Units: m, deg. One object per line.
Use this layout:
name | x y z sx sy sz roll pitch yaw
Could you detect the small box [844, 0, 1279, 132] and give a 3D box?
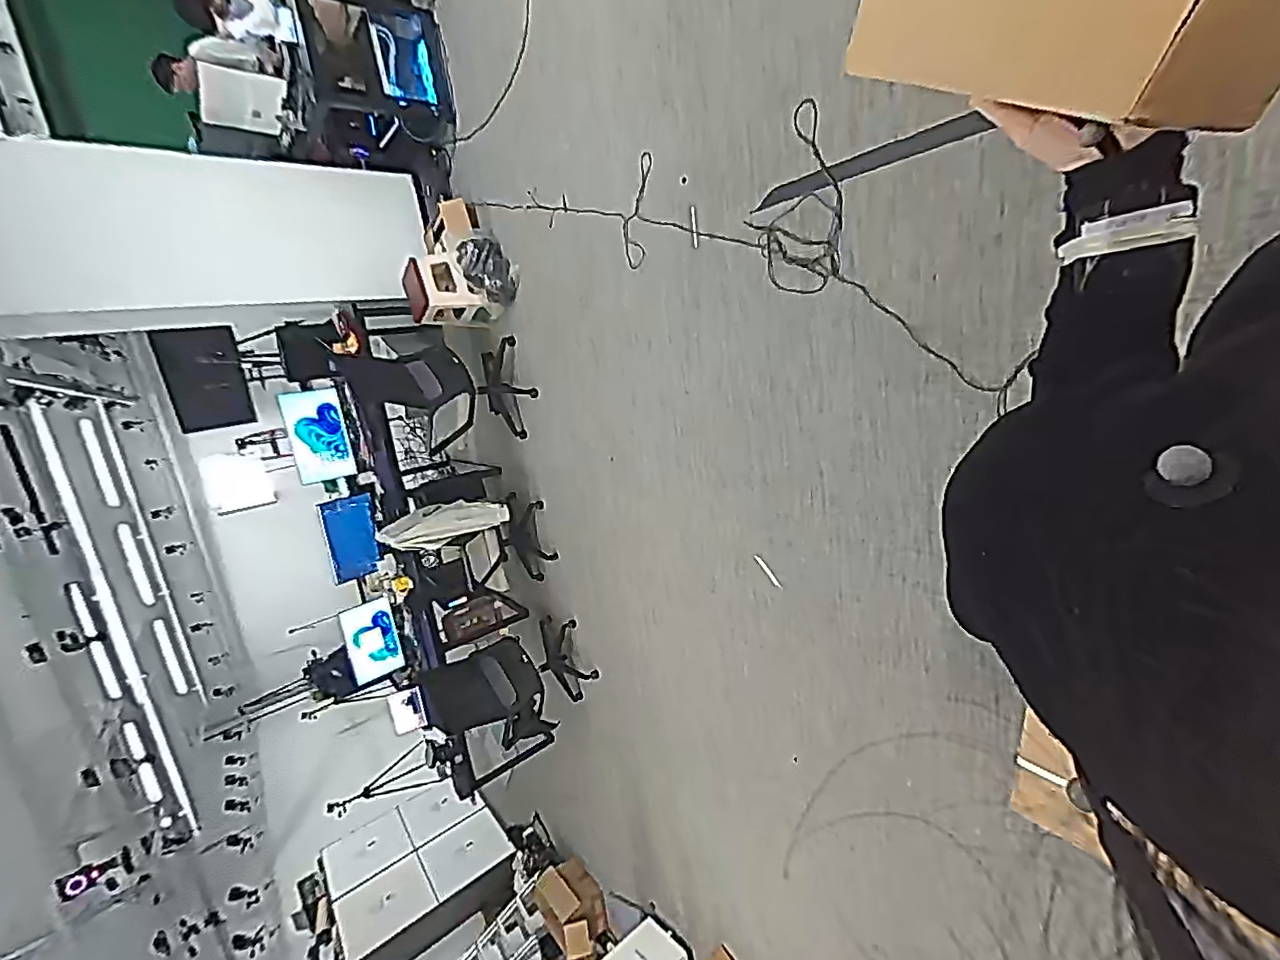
small box | 0.253 -0.295 0.284 0.179 0.176 0.168 49 145 38
